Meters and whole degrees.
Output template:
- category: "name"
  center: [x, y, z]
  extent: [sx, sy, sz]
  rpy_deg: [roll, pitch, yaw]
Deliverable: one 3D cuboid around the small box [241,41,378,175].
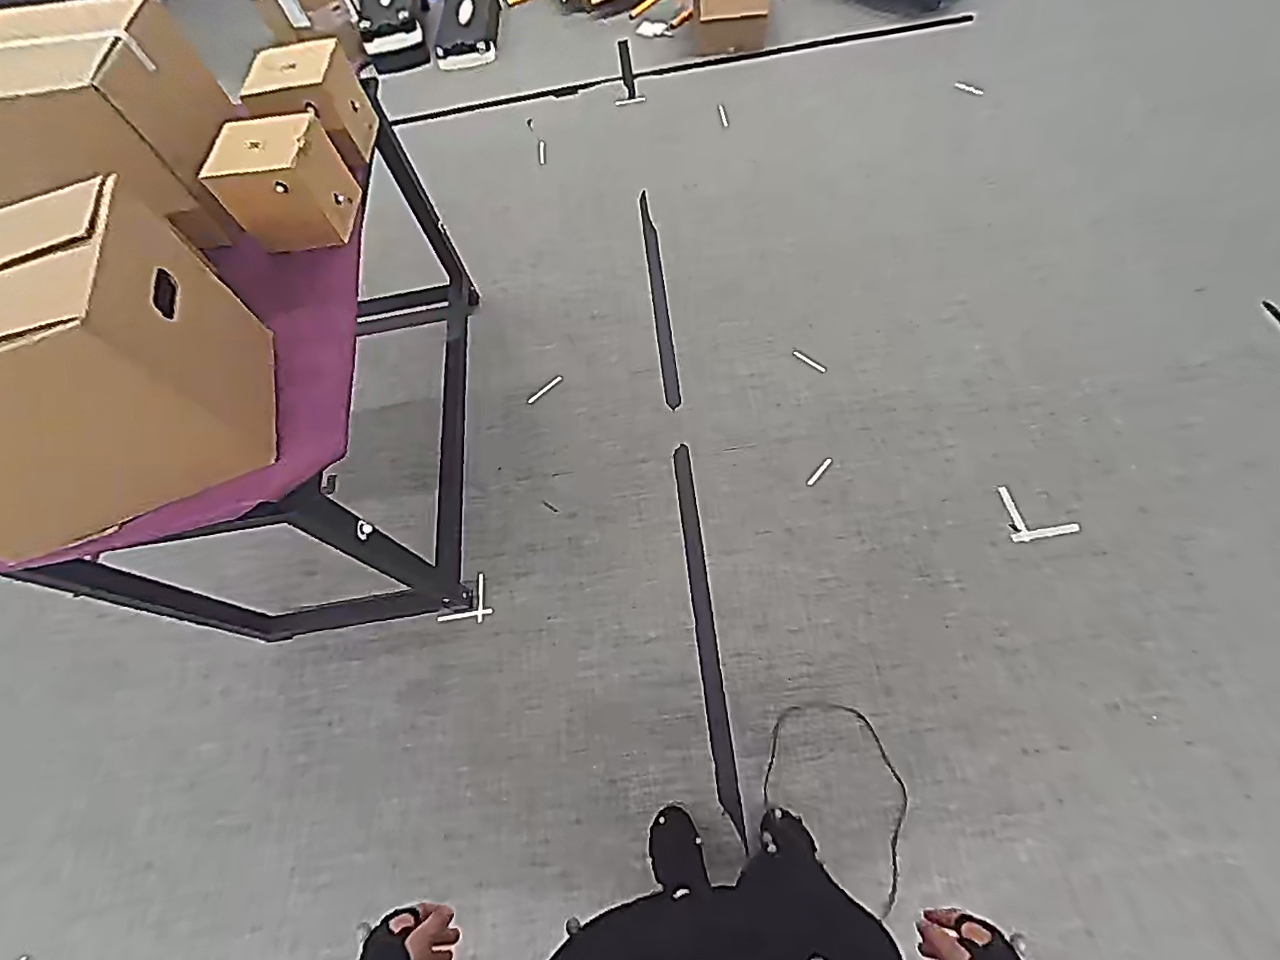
- category: "small box"
  center: [-0.696, -0.794, 1.164]
  extent: [0.179, 0.176, 0.168]
  rpy_deg: [-7, 63, 5]
